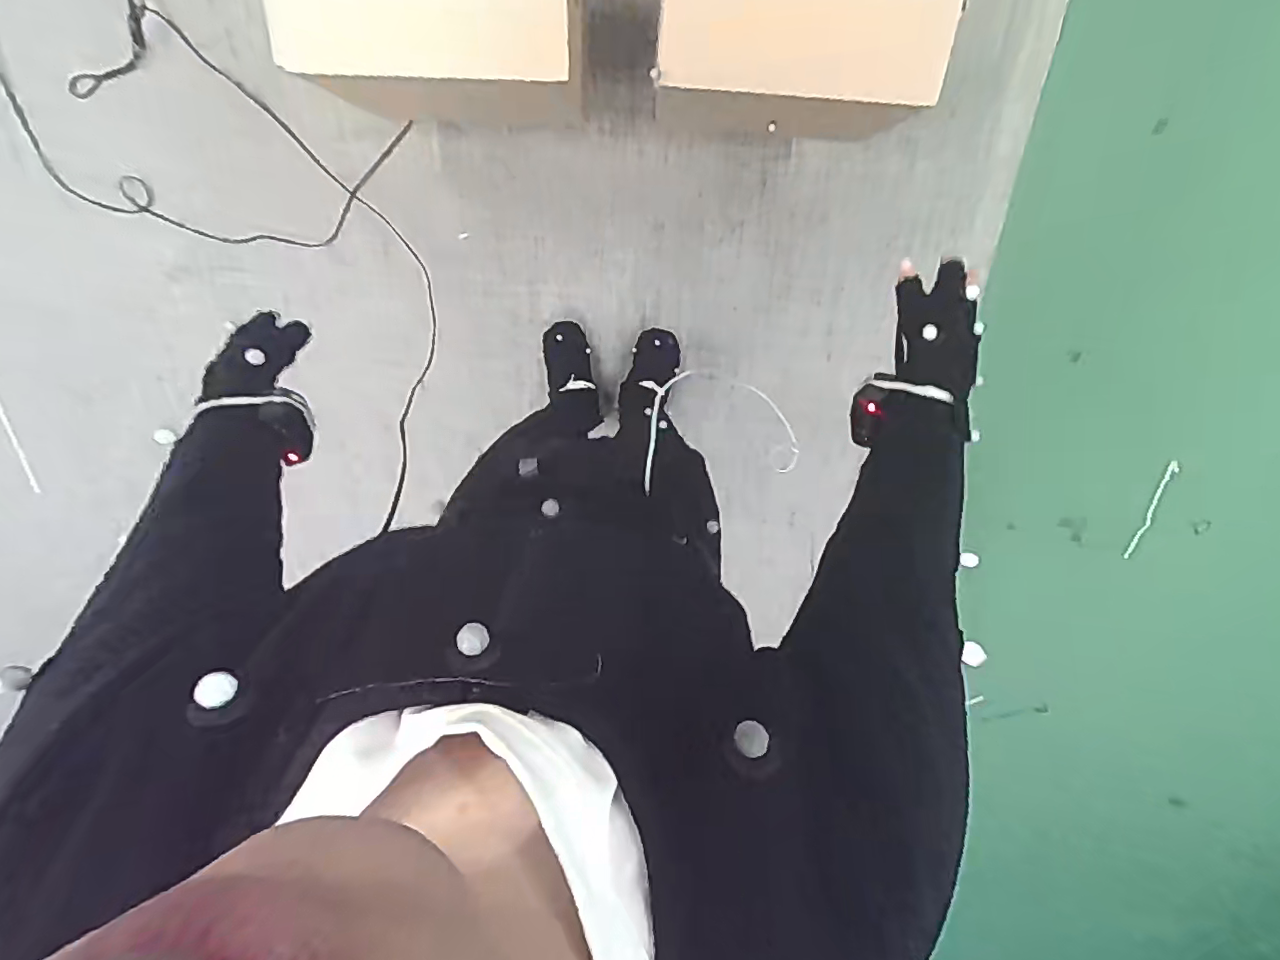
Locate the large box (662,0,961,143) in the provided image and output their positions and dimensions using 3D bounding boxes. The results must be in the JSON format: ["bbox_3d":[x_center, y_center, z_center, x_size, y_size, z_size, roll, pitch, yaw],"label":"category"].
[{"bbox_3d":[0.249,-0.748,0.867,0.408,0.320,0.320,4,113,-1],"label":"large box"}]
